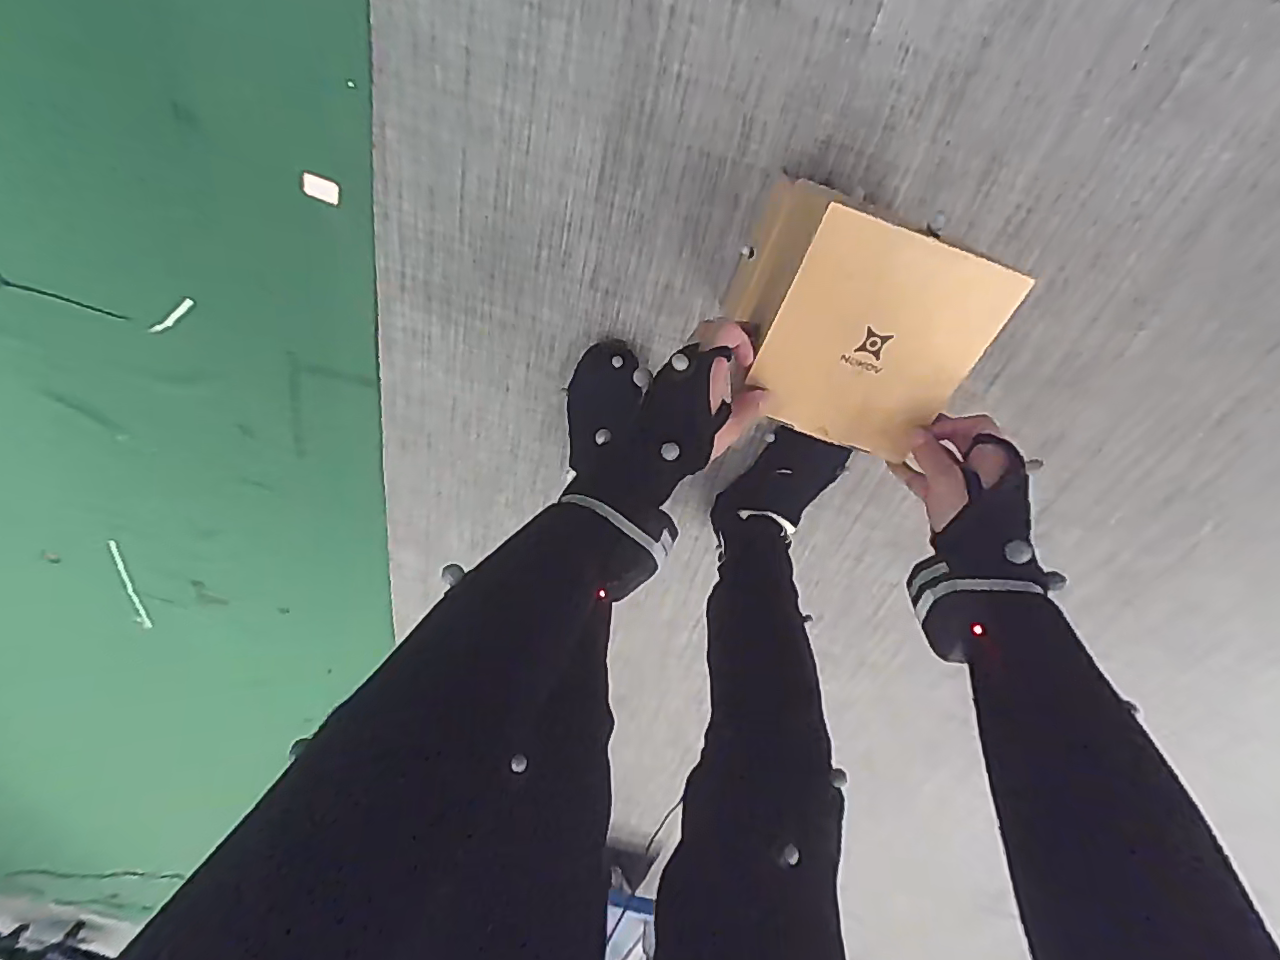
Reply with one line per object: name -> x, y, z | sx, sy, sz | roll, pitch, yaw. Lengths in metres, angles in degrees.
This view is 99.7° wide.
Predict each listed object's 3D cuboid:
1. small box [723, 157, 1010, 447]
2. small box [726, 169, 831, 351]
small box -> 0.195, -0.169, 0.505 | 0.168, 0.176, 0.179 | -32, 114, 29
small box -> 0.213, -0.242, 0.640 | 0.168, 0.176, 0.179 | 19, 125, -4
